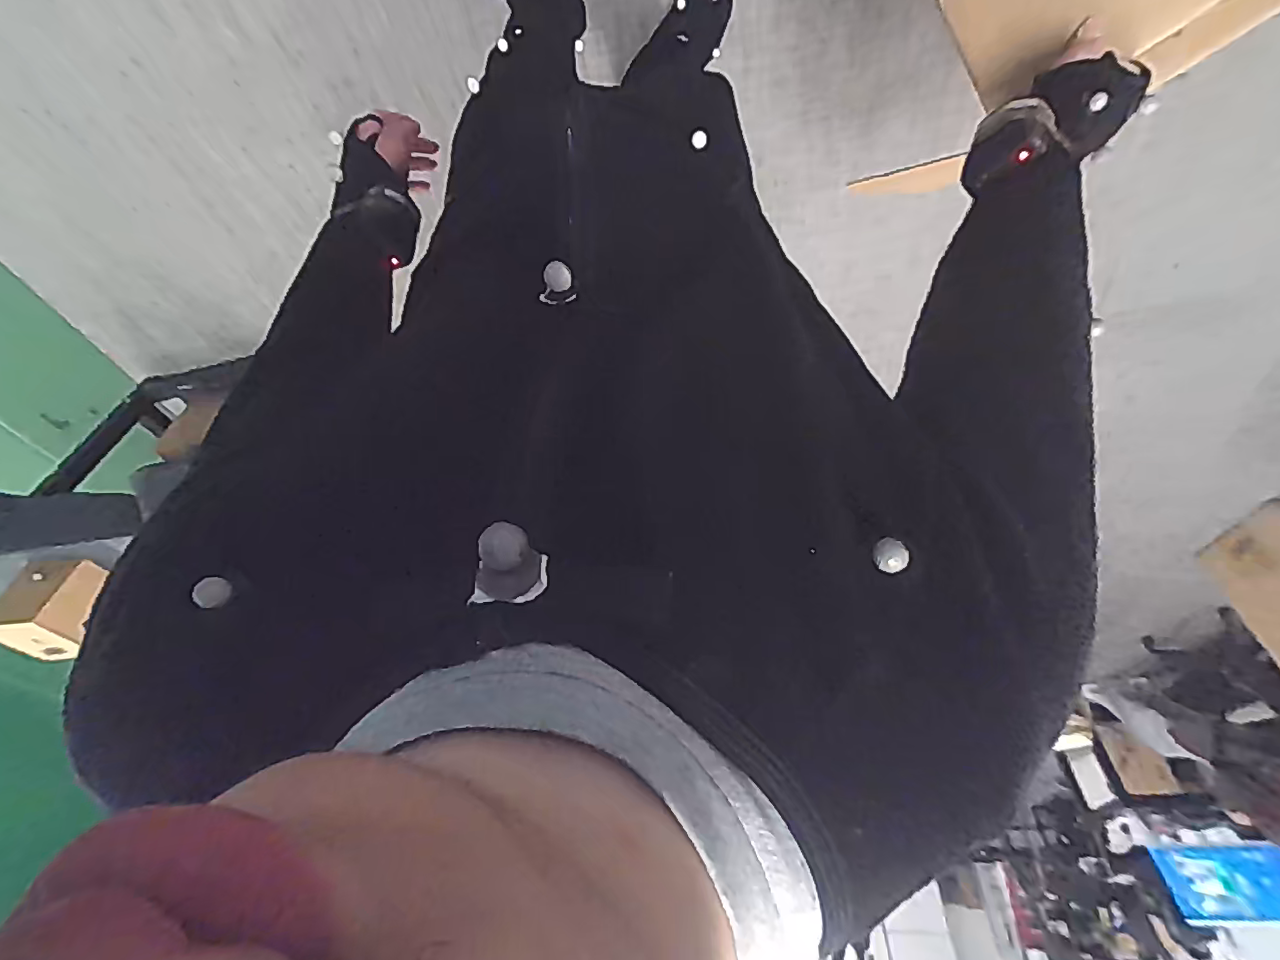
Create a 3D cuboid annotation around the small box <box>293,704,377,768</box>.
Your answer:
[{"bbox_3d":[-1.096,0.924,1.957,0.168,0.176,0.179,-11,135,15],"label":"small box"}]

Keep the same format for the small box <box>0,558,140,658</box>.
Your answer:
[{"bbox_3d":[-1.354,0.301,1.270,0.168,0.176,0.179,-6,137,8],"label":"small box"}]
